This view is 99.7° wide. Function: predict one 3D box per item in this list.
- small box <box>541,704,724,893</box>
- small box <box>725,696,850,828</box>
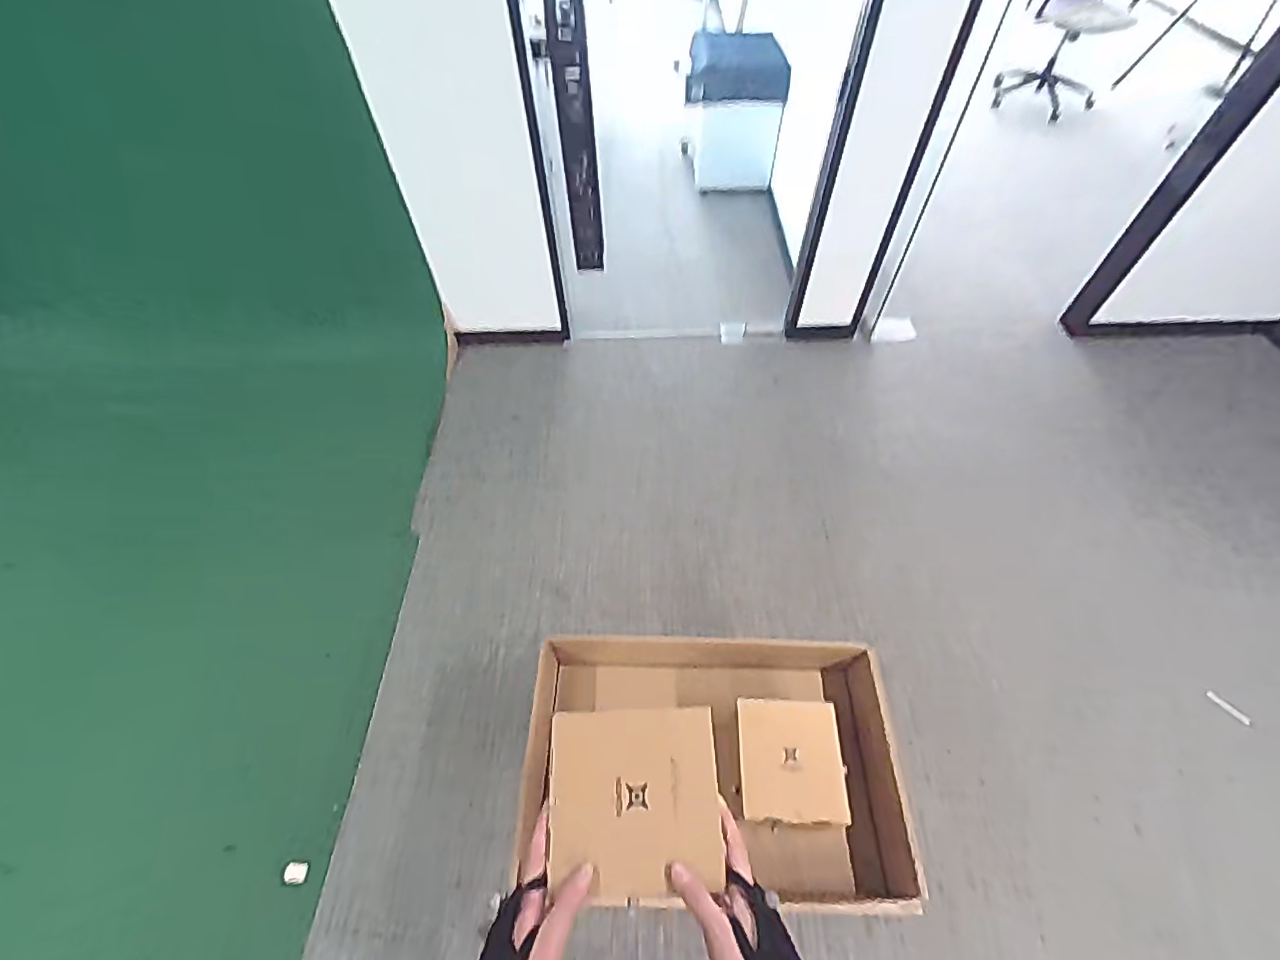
[{"bbox_3d":[-0.006,0.355,0.614,0.179,0.176,0.168,-2,61,0],"label":"small box"},{"bbox_3d":[0.241,0.489,0.932,0.168,0.176,0.179,2,55,2],"label":"small box"}]
